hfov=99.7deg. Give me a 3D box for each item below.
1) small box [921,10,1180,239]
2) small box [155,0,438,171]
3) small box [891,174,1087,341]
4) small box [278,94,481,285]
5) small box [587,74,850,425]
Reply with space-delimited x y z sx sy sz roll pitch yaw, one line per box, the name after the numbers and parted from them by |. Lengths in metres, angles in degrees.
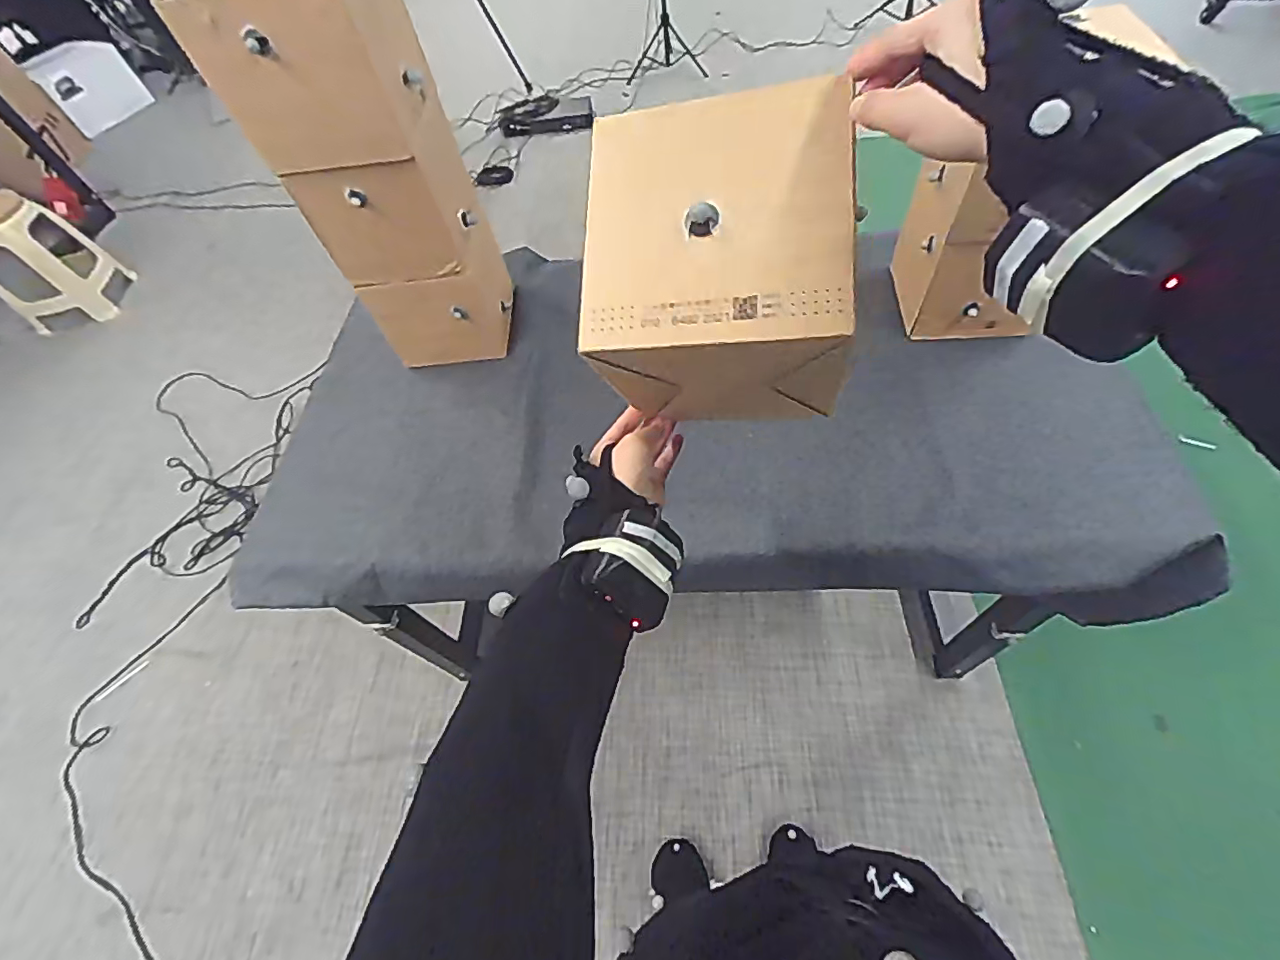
0.455 -0.405 0.638 0.168 0.176 0.179 0 60 8 | small box
-0.354 -0.469 0.599 0.179 0.176 0.168 -3 59 4 | small box
0.479 -0.324 0.779 0.168 0.176 0.179 0 59 8 | small box
-0.339 -0.390 0.743 0.179 0.176 0.168 -5 59 3 | small box
0.066 -0.145 0.408 0.168 0.179 0.176 2 81 17 | small box
